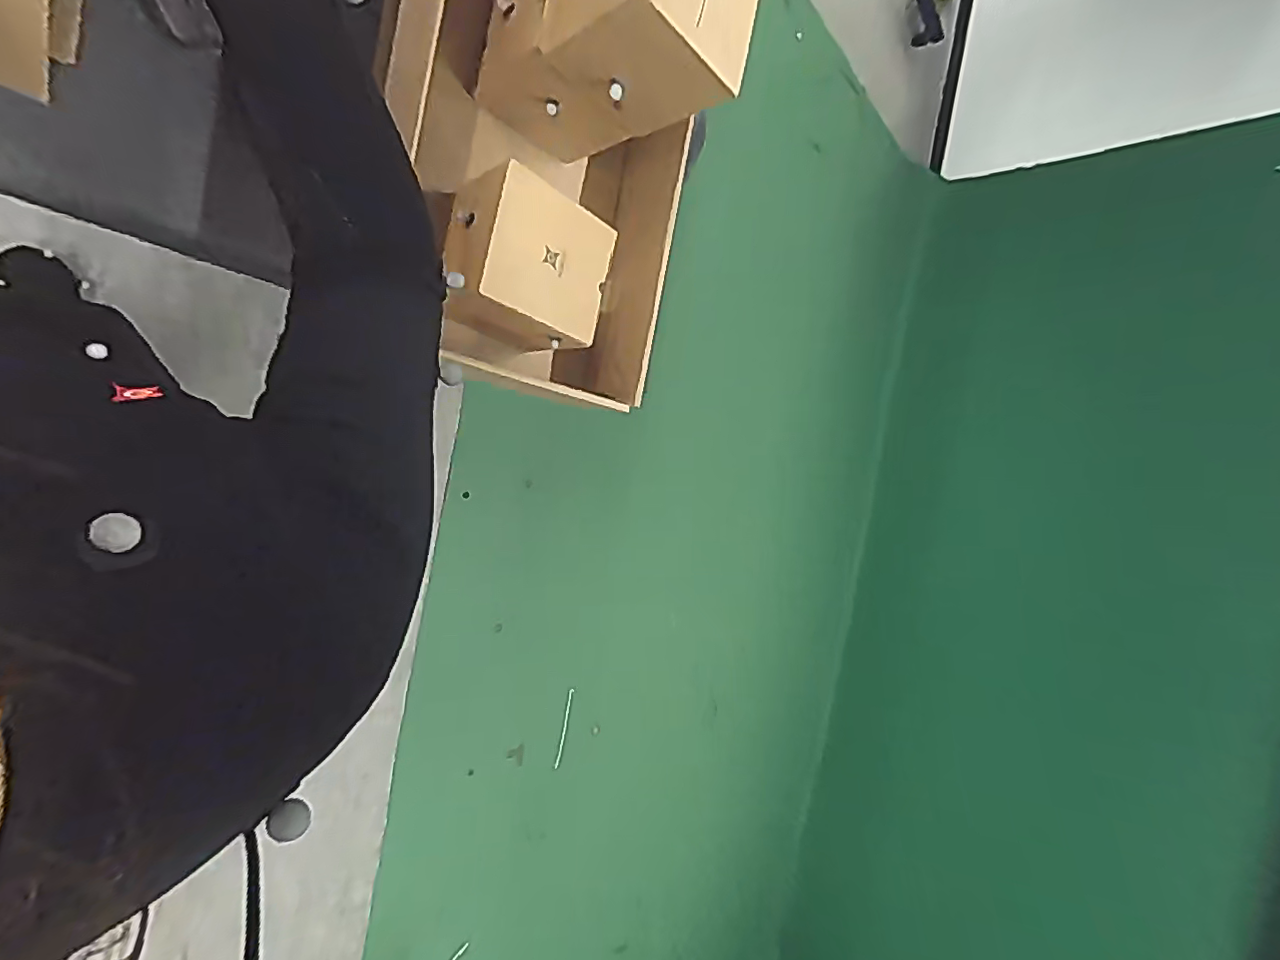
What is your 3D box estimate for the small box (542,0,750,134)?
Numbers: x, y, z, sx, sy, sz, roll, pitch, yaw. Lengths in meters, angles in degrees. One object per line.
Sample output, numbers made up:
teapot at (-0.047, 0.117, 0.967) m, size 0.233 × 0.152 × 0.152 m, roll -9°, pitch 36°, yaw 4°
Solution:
small box at (0.007, -0.549, 0.628) m, size 0.168 × 0.176 × 0.179 m, roll 10°, pitch 93°, yaw -46°
